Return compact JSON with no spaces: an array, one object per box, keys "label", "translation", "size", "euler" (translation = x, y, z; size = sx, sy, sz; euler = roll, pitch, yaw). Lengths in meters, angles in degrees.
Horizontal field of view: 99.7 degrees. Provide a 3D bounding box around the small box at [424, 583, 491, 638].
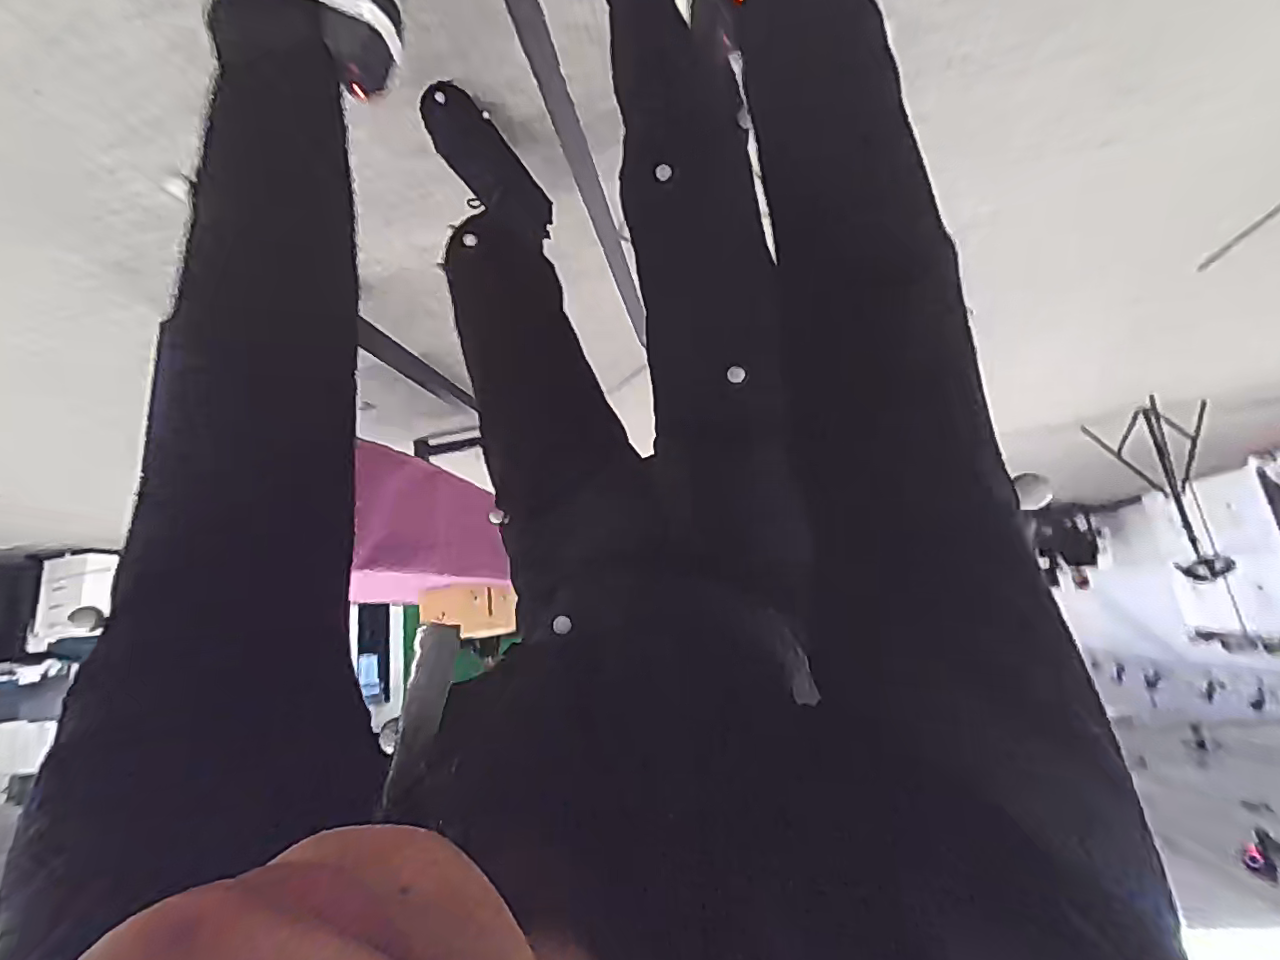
[{"label":"small box","translation":[-0.657,0.469,1.950],"size":[0.179,0.176,0.168],"euler":[-11,166,14]}]
